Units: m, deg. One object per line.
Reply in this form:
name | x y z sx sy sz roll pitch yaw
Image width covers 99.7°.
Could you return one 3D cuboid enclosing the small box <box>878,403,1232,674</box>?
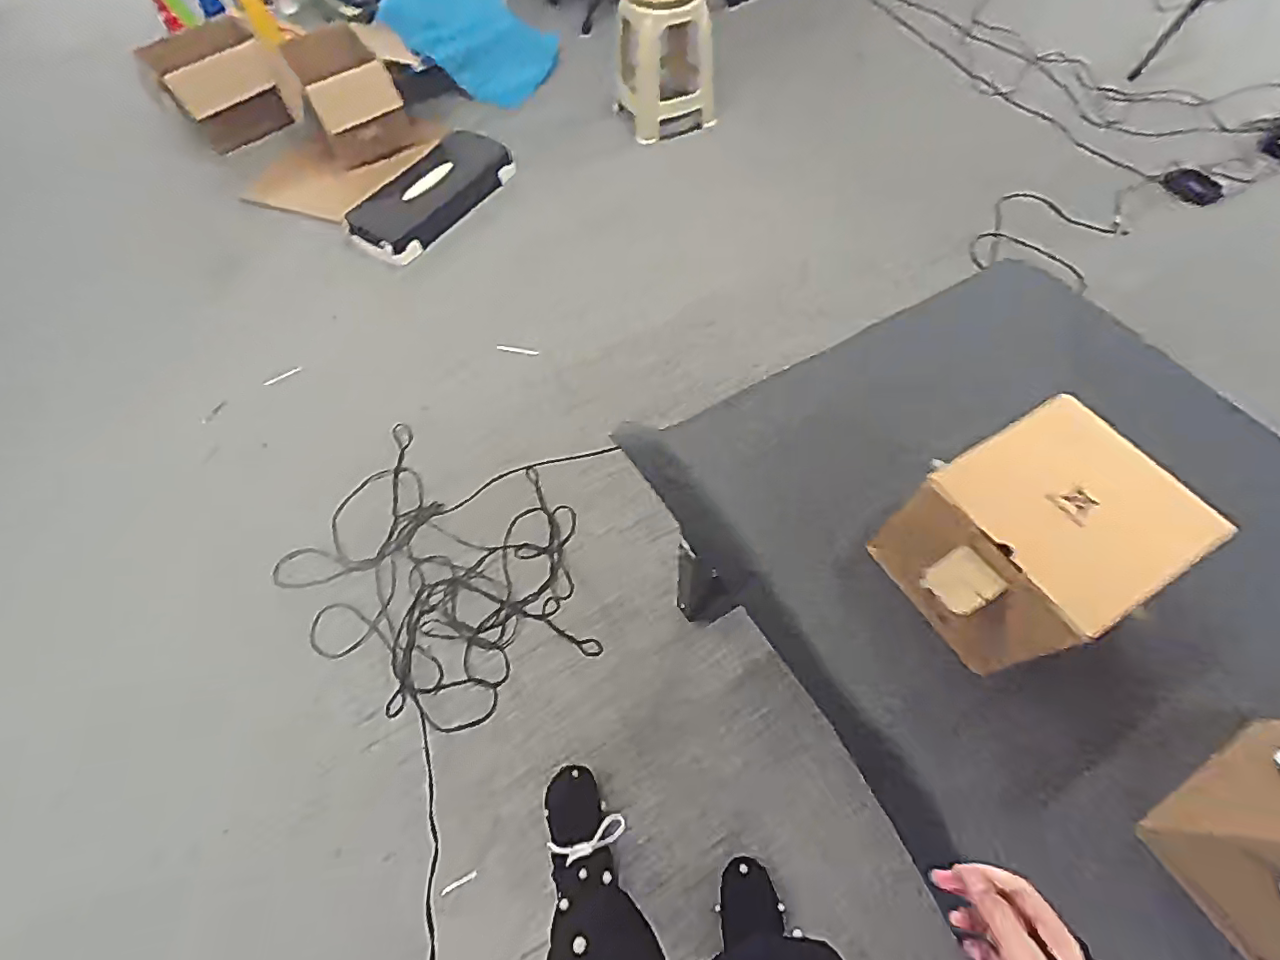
small box | 0.371 0.064 0.524 0.179 0.176 0.168 -29 65 -12
